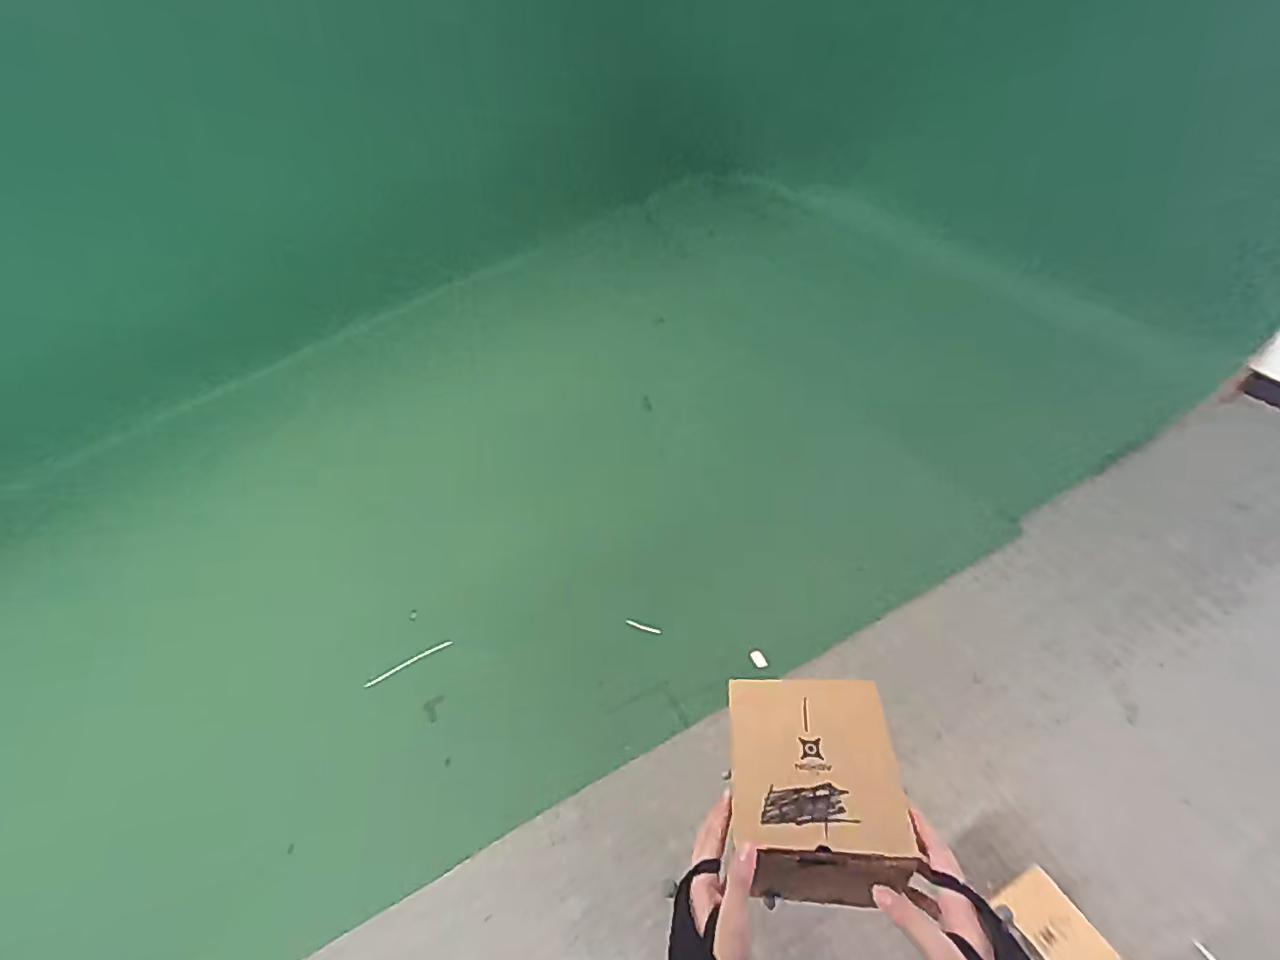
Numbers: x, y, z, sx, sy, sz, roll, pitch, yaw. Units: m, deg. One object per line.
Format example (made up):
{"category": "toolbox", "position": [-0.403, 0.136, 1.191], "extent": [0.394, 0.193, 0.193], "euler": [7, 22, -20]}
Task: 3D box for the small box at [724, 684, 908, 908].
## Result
{"category": "small box", "position": [0.183, 0.352, 0.606], "extent": [0.168, 0.176, 0.179], "euler": [-4, 40, 11]}
